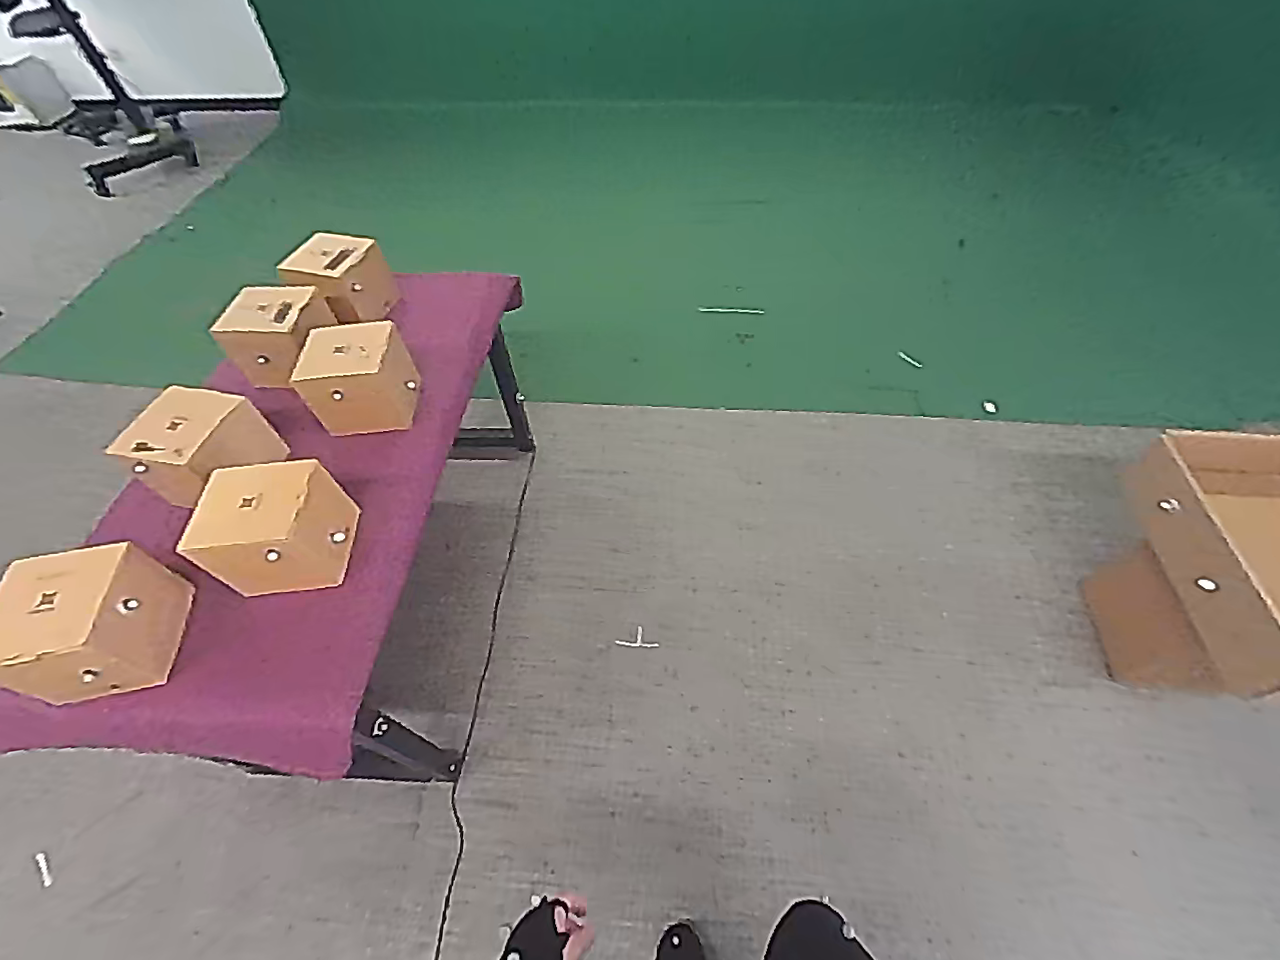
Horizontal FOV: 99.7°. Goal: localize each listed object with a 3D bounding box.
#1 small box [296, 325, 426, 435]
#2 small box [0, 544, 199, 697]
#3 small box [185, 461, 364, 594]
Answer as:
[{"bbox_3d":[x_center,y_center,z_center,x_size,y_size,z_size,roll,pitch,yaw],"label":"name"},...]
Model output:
[{"bbox_3d":[-0.592,-0.212,1.174,0.179,0.176,0.168,-5,54,0],"label":"small box"},{"bbox_3d":[-0.853,0.229,0.855,0.168,0.176,0.179,-9,53,-6],"label":"small box"},{"bbox_3d":[-0.625,0.089,0.952,0.179,0.176,0.168,-6,53,-2],"label":"small box"}]
